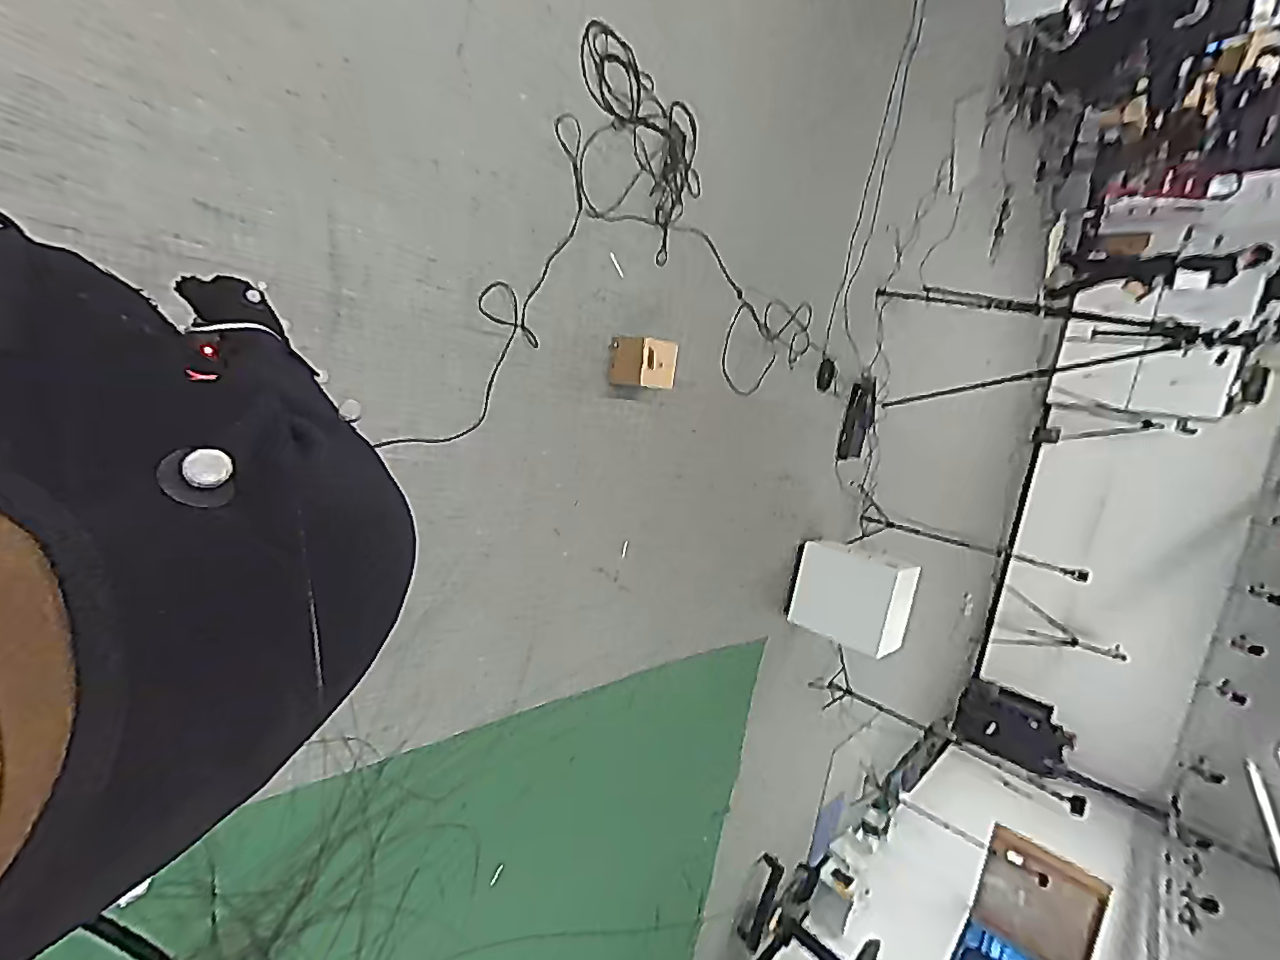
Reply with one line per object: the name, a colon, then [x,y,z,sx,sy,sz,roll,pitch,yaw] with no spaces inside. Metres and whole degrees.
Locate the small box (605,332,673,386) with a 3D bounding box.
small box: [-0.006,-0.441,1.967,0.179,0.176,0.168,-3,105,-47]
